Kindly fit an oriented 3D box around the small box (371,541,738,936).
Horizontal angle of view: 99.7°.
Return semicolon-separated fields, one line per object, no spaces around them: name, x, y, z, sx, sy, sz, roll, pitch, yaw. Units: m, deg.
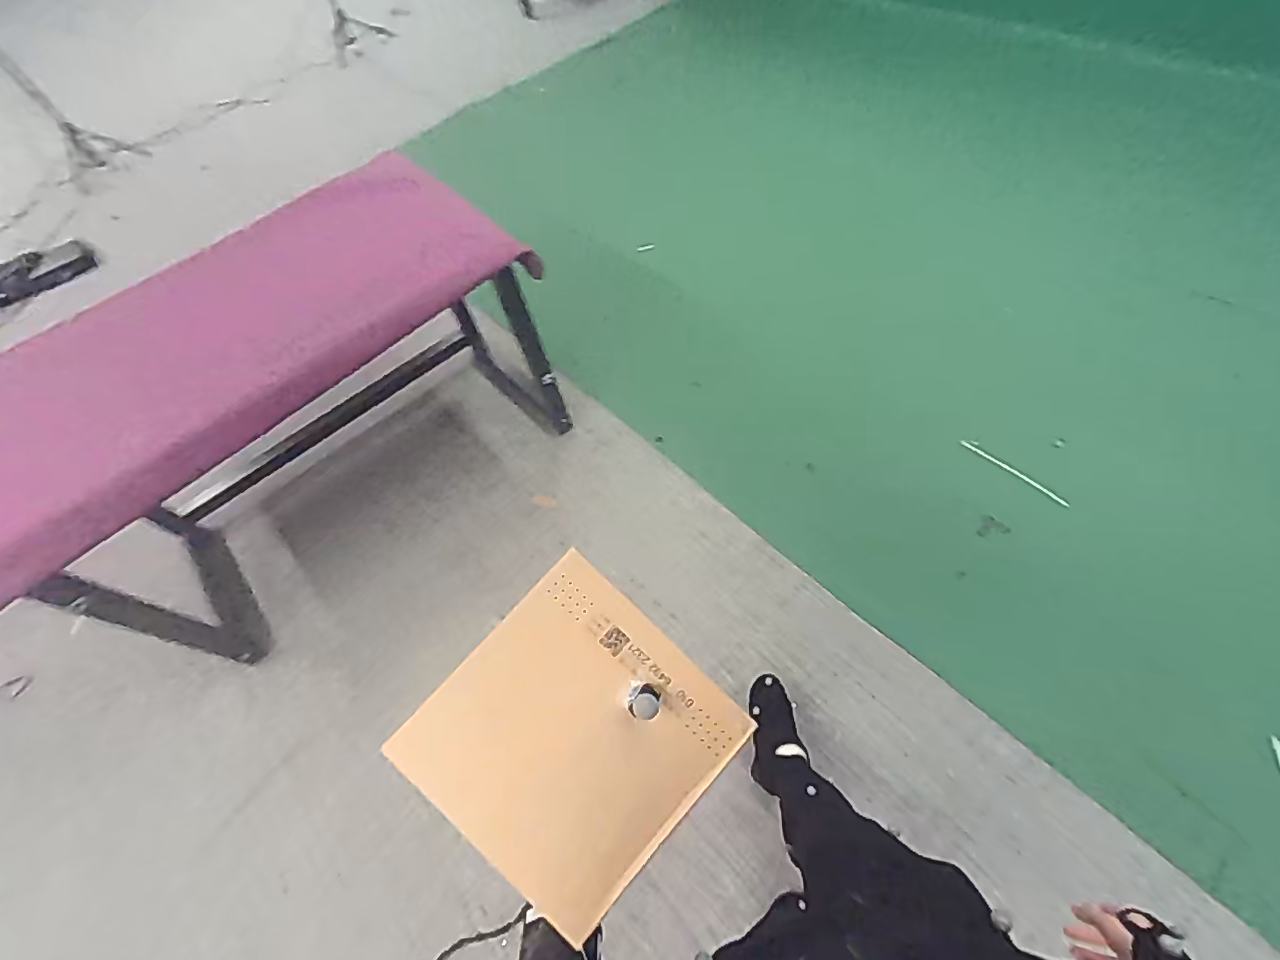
small box;-0.051;0.161;0.407;0.168;0.179;0.176;43;79;3
